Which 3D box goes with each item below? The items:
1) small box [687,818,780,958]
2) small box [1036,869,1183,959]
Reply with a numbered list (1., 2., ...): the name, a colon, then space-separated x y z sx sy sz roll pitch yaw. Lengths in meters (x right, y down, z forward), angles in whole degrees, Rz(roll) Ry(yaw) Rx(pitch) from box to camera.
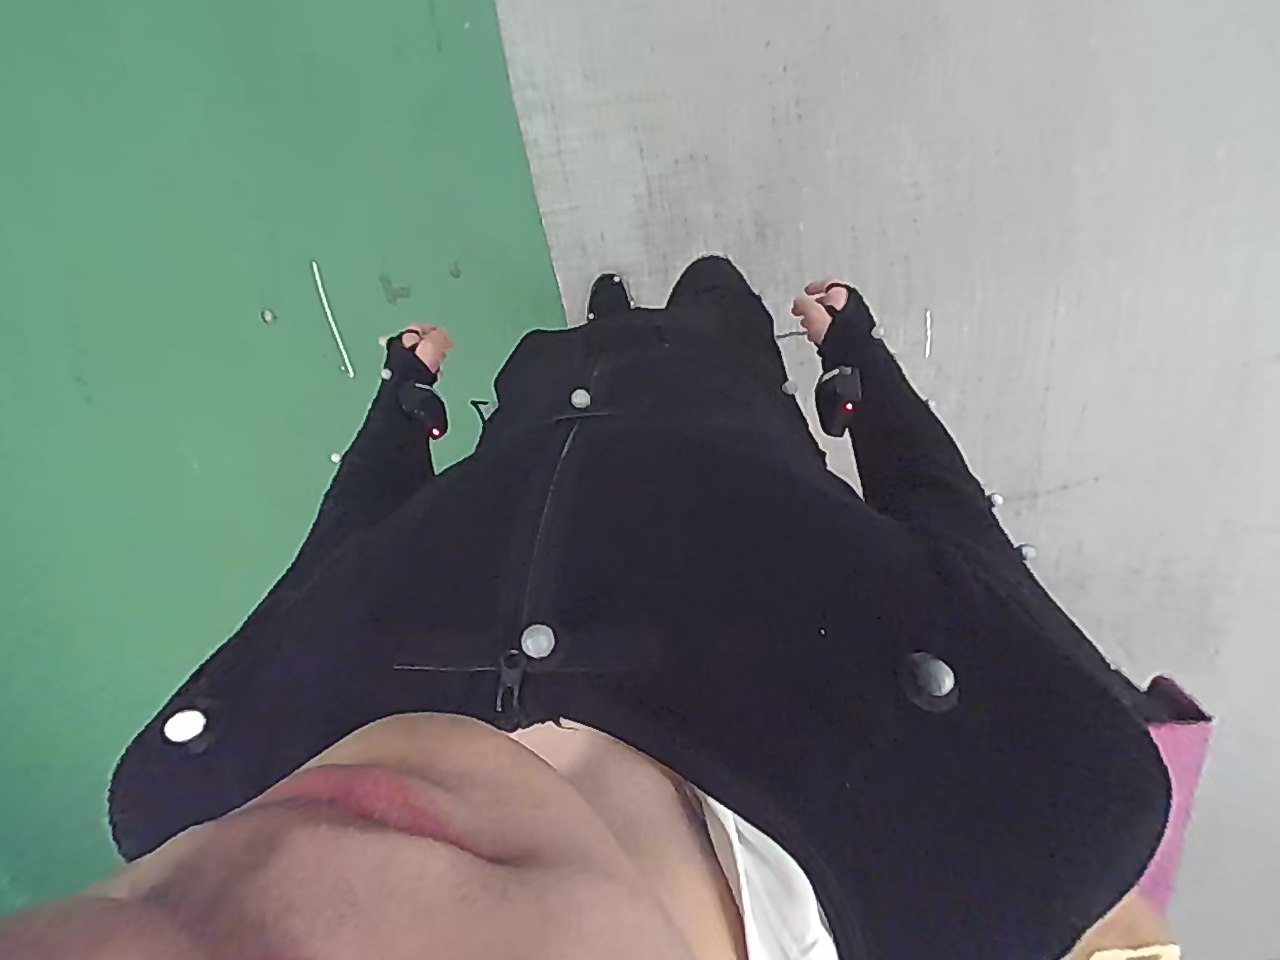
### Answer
1. small box: 0.191 0.844 1.125 0.168 0.176 0.179 -8 112 4
2. small box: 0.979 0.962 1.147 0.168 0.176 0.179 -9 111 6
